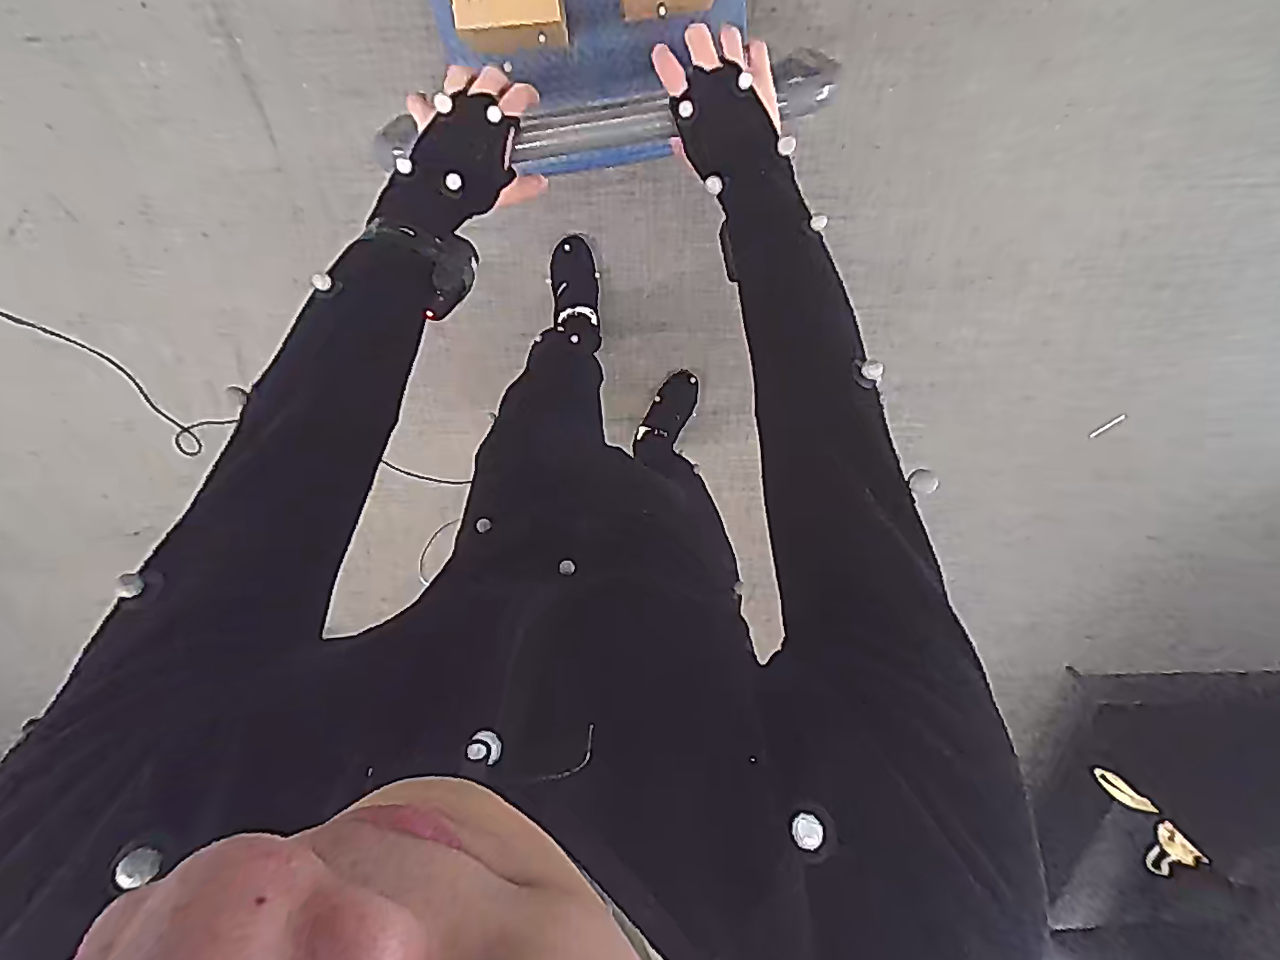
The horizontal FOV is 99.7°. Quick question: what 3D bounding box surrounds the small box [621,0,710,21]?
[{"bbox_3d":[0.041,-0.921,0.915,0.168,0.176,0.179,-7,118,2],"label":"small box"}]
